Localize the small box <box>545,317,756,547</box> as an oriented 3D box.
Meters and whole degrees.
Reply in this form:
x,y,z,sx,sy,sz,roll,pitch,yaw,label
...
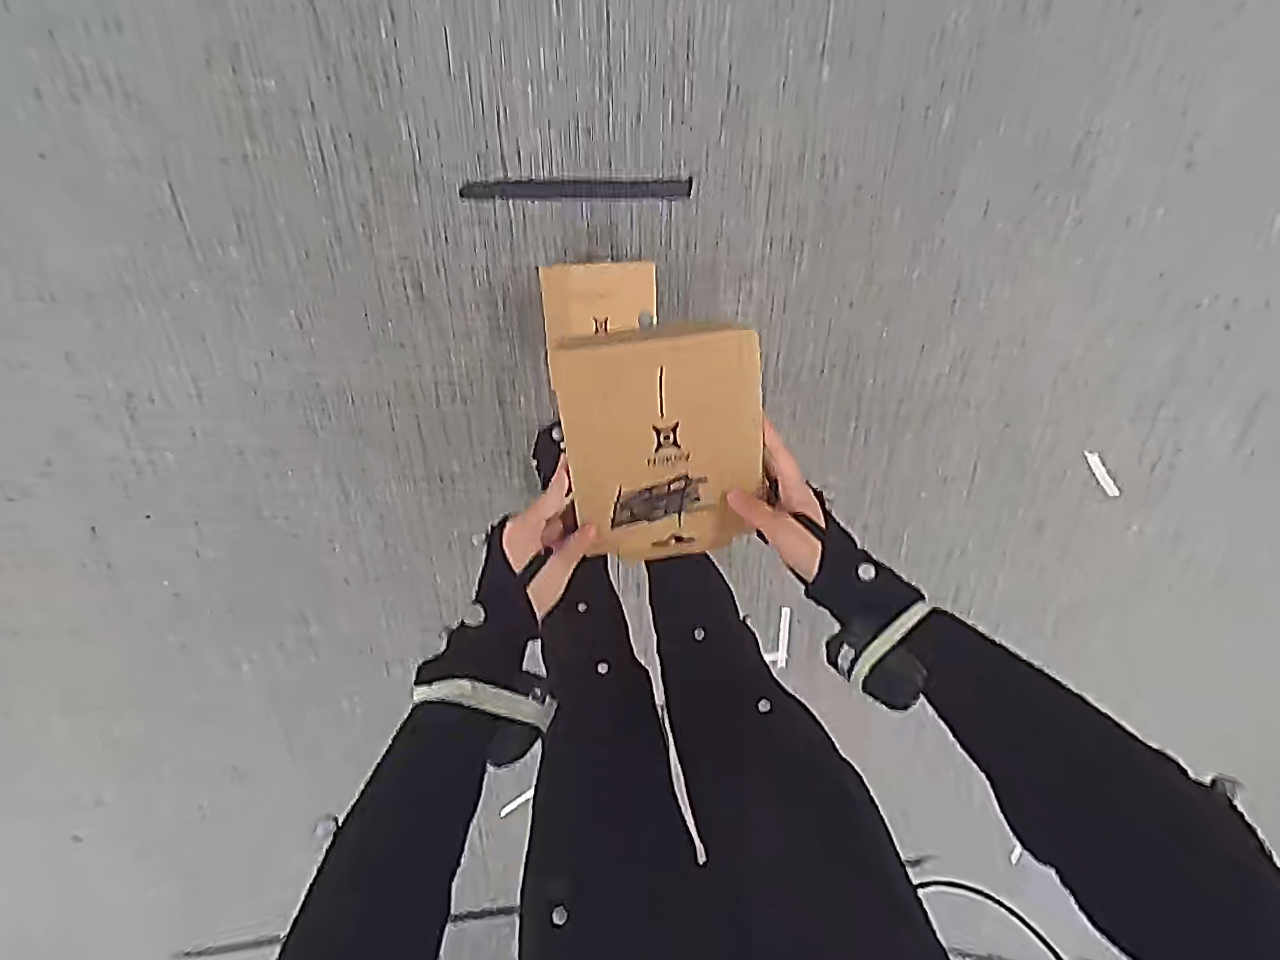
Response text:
x,y,z,sx,sy,sz,roll,pitch,yaw,label
0.007,-0.057,0.524,0.168,0.176,0.179,-8,109,-4,small box

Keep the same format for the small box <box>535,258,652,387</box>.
x,y,z,sx,sy,sz,roll,pitch,yaw,label
-0.072,-0.255,0.859,0.168,0.176,0.179,-5,113,-6,small box
